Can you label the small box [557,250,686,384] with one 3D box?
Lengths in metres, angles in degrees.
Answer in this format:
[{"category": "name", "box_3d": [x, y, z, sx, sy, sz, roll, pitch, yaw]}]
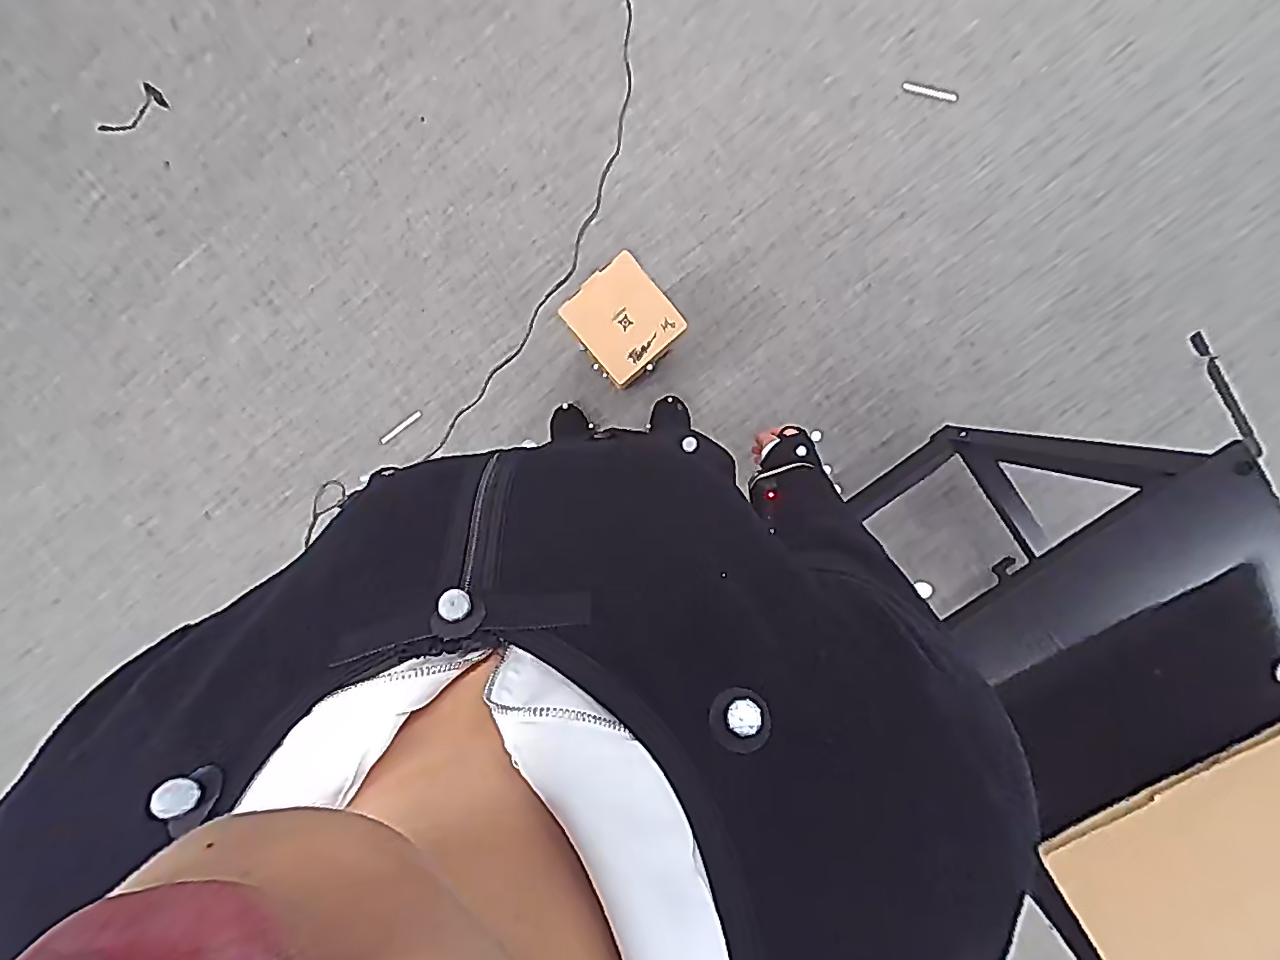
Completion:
[{"category": "small box", "box_3d": [-0.034, -0.299, 1.039, 0.168, 0.176, 0.179, -40, 97, 6]}]
